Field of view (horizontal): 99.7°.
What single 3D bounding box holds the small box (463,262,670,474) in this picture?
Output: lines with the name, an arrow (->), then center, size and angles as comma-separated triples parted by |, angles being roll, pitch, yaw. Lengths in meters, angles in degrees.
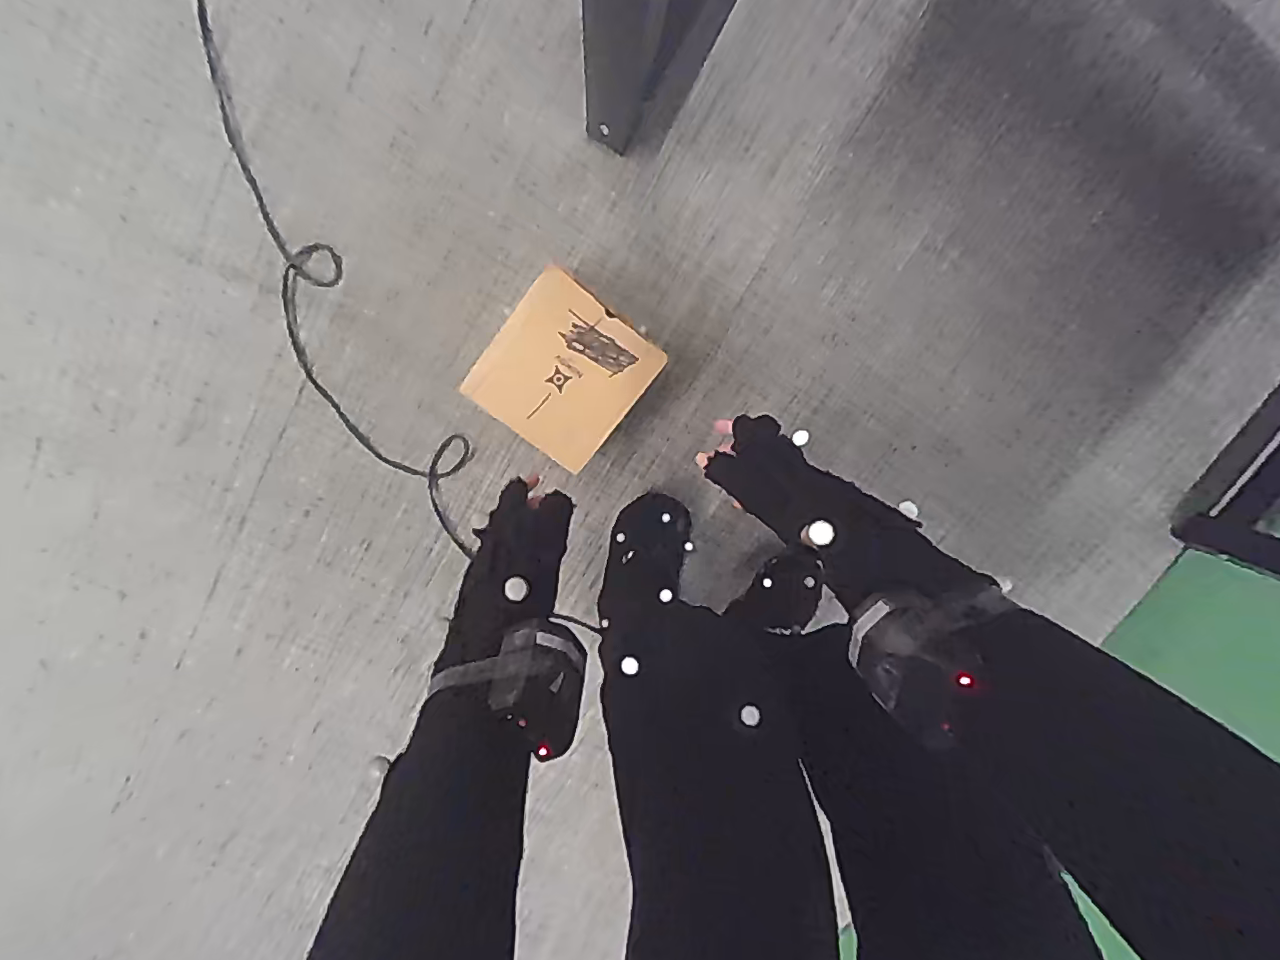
small box -> -0.088, -0.141, 0.674 | 0.168, 0.176, 0.179 | 37, 101, -14
